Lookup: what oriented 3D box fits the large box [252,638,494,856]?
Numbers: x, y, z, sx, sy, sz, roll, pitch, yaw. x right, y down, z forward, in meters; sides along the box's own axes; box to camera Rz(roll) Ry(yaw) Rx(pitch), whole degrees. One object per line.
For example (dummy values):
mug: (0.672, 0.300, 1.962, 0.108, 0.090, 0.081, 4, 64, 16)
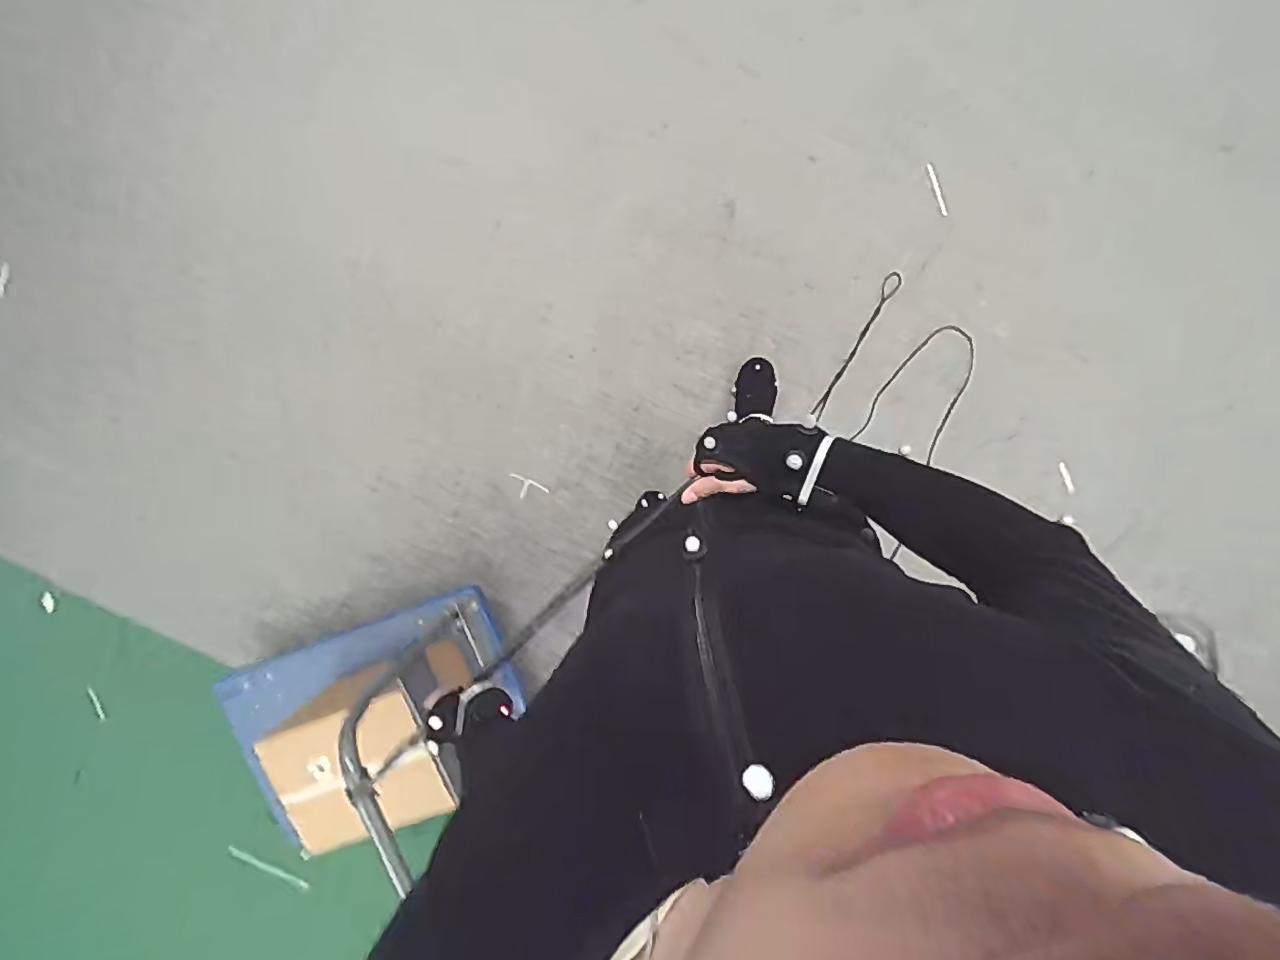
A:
large box: (-0.661, 0.668, 1.403, 0.408, 0.320, 0.320, -21, 95, 6)
